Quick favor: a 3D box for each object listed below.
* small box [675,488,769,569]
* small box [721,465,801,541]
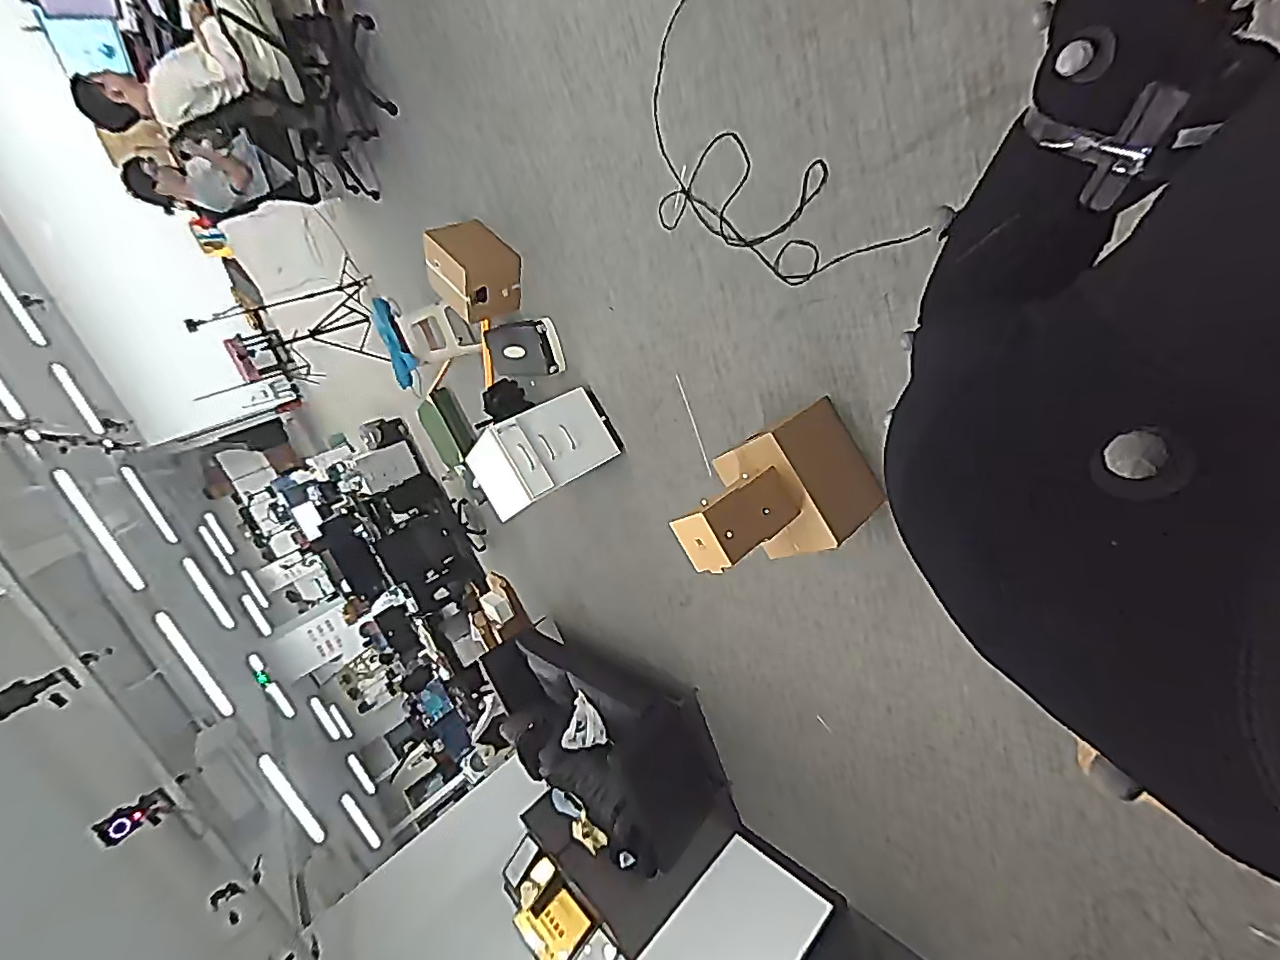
[{"bbox_3d":[0.241,0.139,1.588,0.179,0.176,0.168,60,147,-3],"label":"small box"},{"bbox_3d":[0.365,0.080,1.677,0.179,0.176,0.168,60,147,-2],"label":"small box"}]
